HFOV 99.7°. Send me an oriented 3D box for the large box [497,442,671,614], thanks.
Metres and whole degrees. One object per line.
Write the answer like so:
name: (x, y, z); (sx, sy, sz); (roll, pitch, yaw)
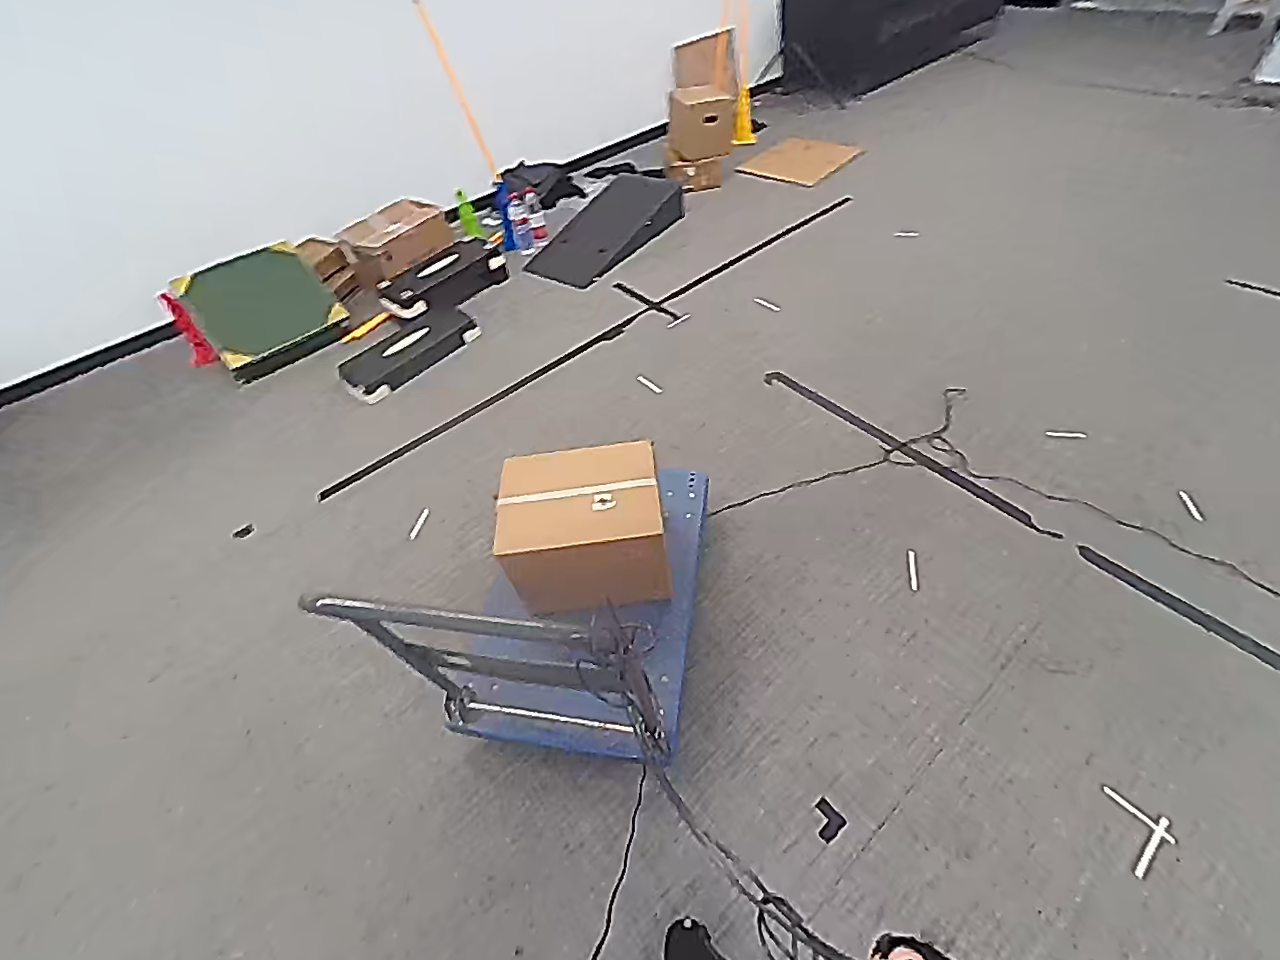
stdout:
large box: (-0.138, 0.135, 1.460); (0.408, 0.320, 0.320); (-7, 49, 2)
